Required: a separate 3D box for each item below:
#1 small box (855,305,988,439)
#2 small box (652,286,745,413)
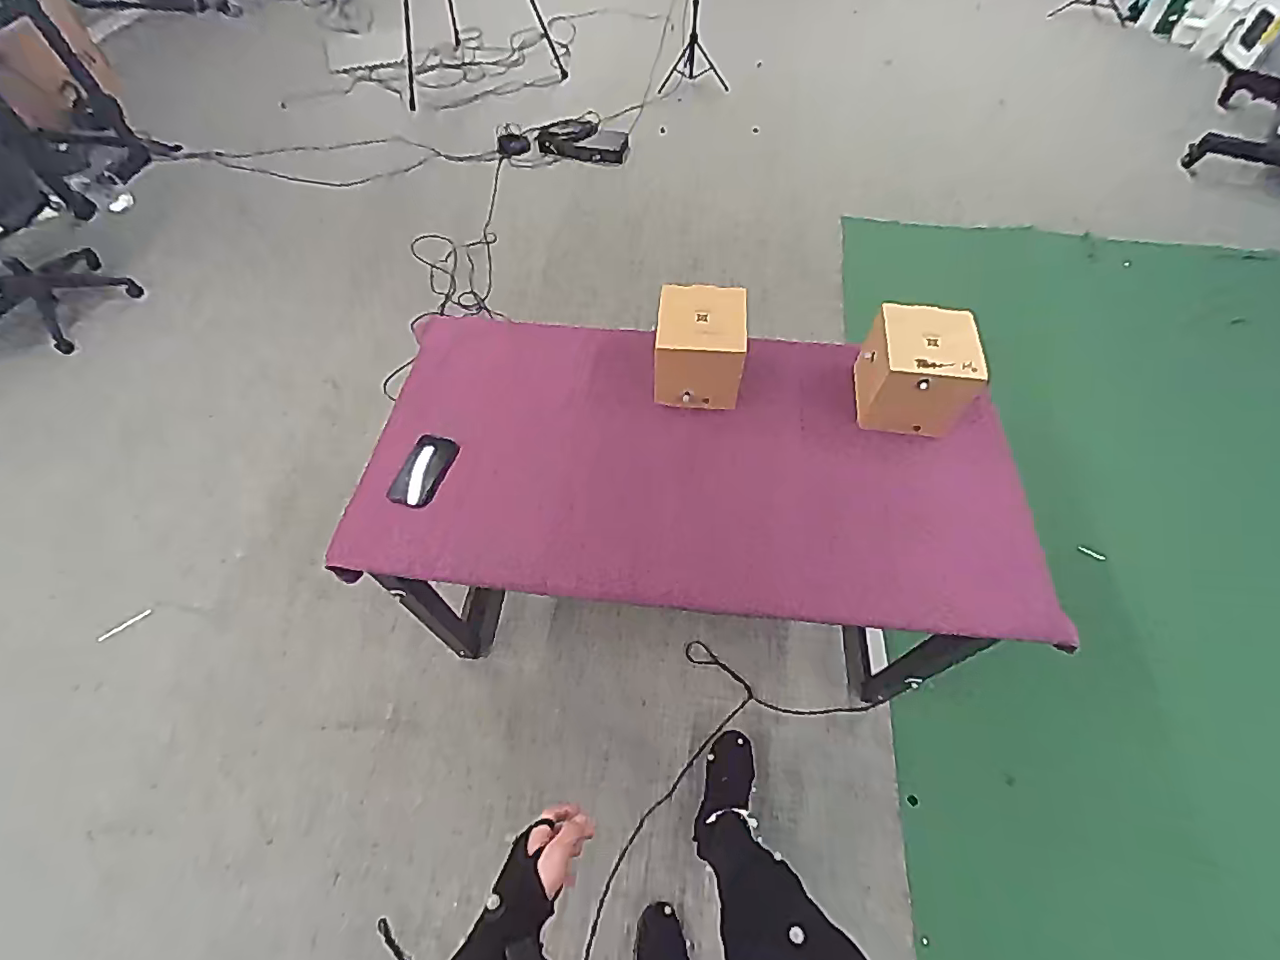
[{"bbox_3d":[0.519,-0.203,1.027,0.168,0.176,0.179,6,57,6],"label":"small box"},{"bbox_3d":[0.113,-0.256,1.068,0.168,0.176,0.179,4,58,4],"label":"small box"}]
